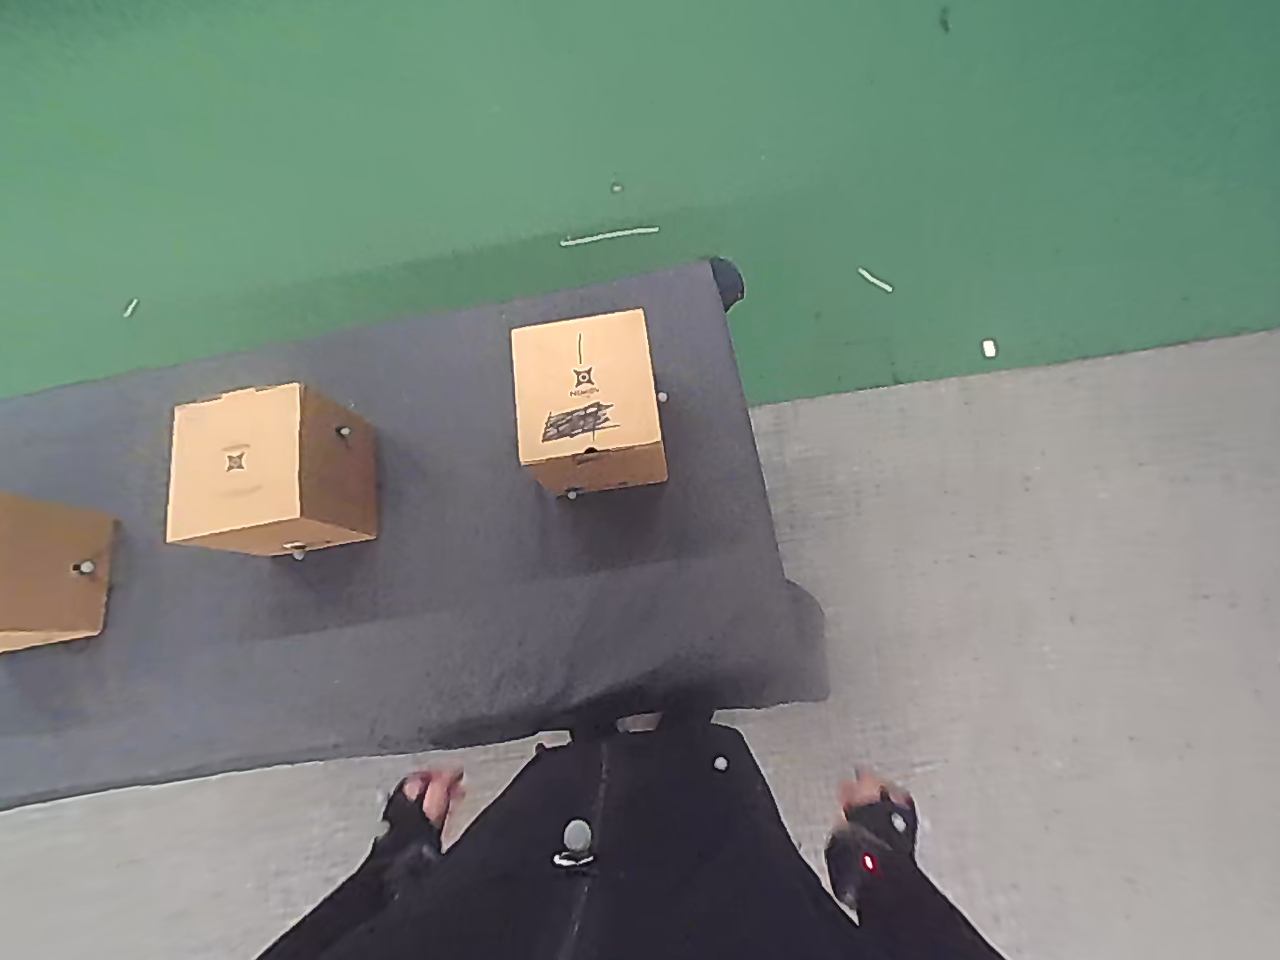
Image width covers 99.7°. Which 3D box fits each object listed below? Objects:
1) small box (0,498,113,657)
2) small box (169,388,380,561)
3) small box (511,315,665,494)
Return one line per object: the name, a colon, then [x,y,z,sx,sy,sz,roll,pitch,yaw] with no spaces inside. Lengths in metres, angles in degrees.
small box: [-0.857,0.135,0.713,0.168,0.176,0.179,-11,74,2]
small box: [-0.471,0.002,0.721,0.168,0.176,0.179,-11,76,3]
small box: [-0.060,-0.085,0.708,0.168,0.176,0.179,-8,74,2]
